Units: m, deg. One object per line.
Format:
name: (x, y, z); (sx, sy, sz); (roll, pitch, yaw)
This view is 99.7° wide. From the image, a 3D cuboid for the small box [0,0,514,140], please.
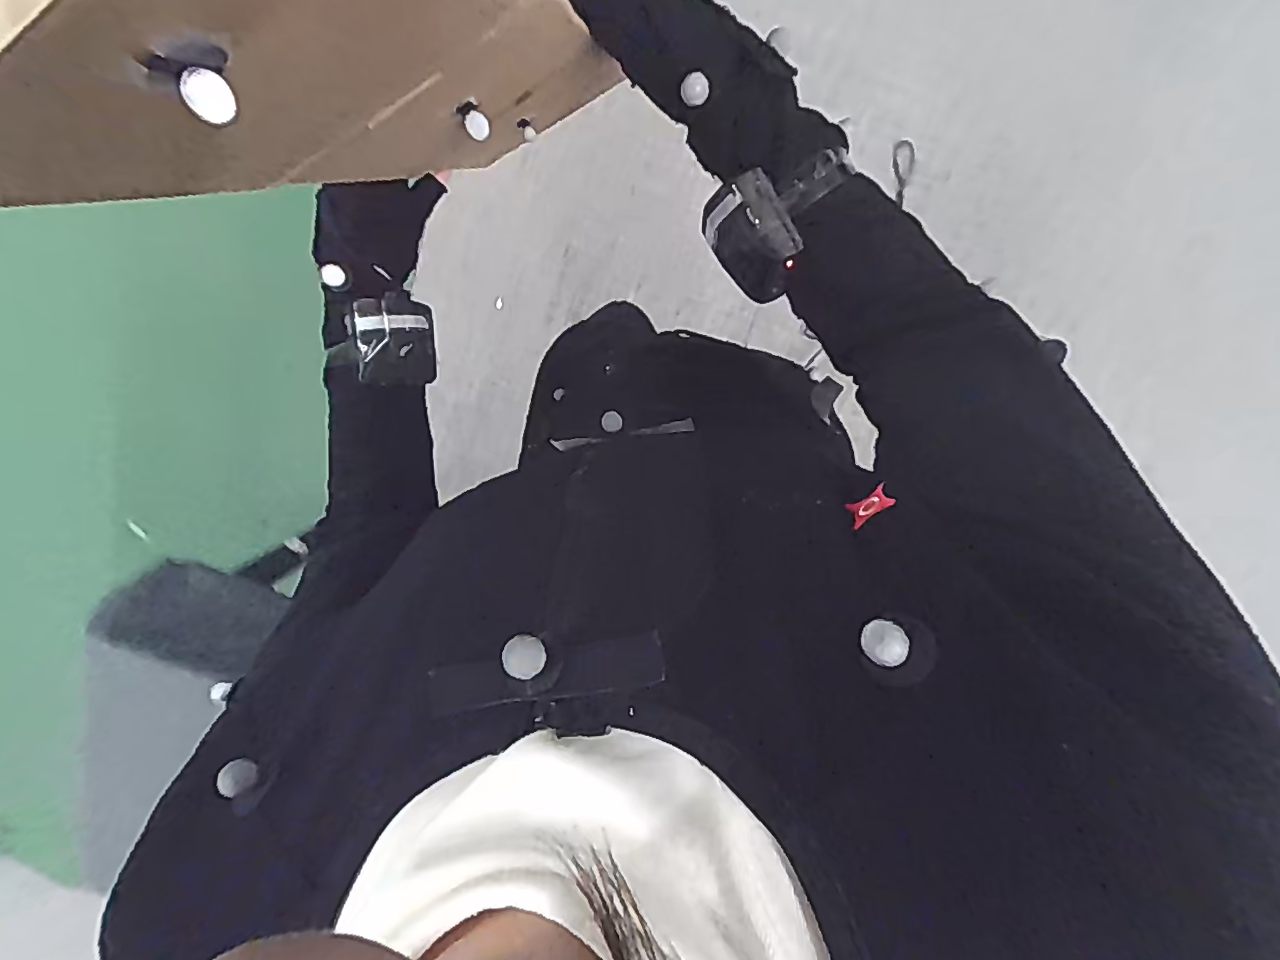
small box: (-0.139, -0.217, 0.147); (0.179, 0.176, 0.168); (-20, 117, 16)
